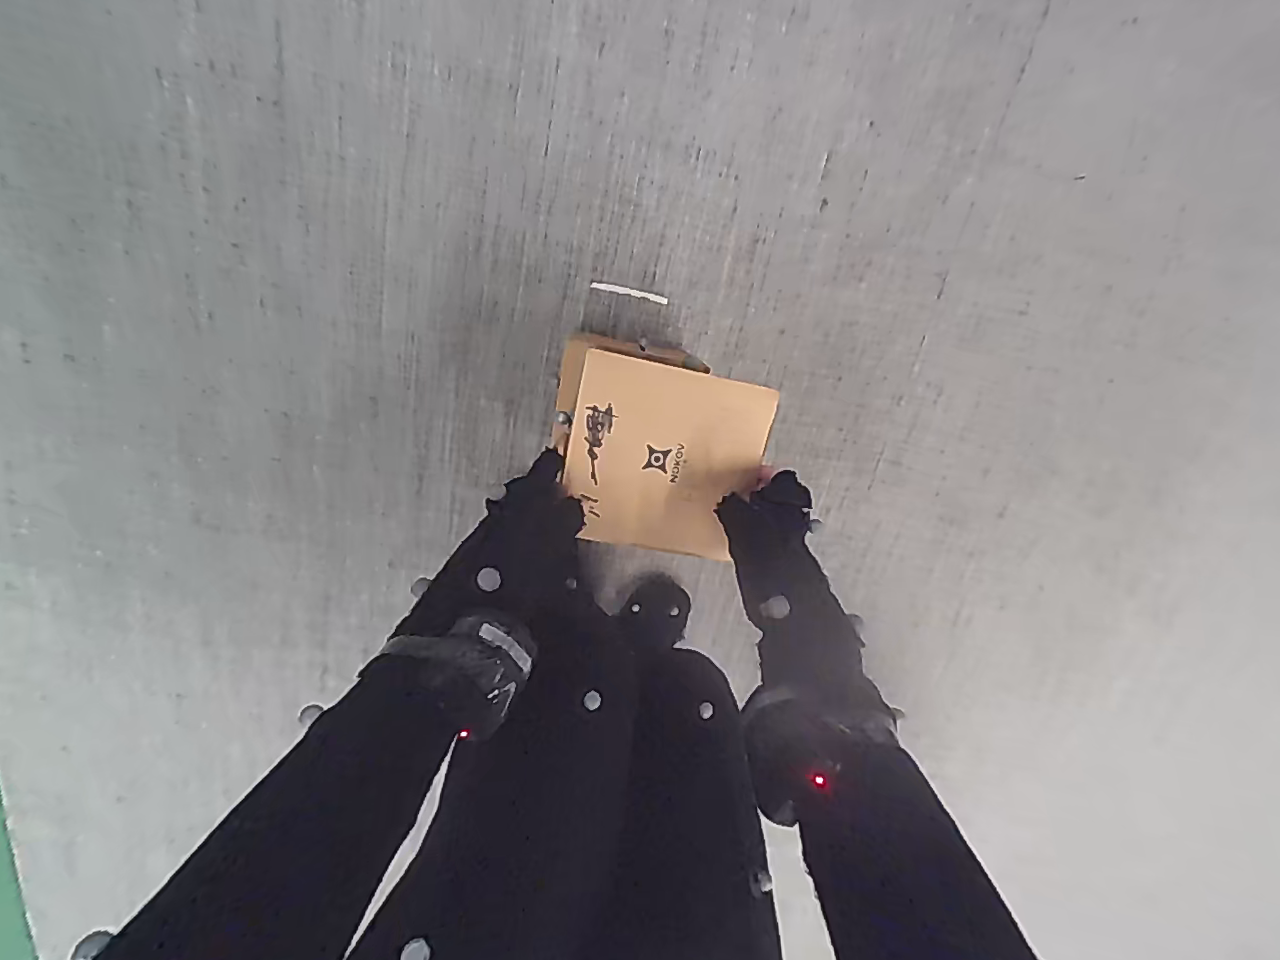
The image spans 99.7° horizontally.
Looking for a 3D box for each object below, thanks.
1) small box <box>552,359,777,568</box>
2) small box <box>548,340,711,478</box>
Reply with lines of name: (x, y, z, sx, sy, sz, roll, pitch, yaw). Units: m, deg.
small box: (0.010, -0.027, 0.556, 0.179, 0.176, 0.168, 11, 101, -11)
small box: (-0.021, -0.091, 0.732, 0.179, 0.176, 0.168, 9, 107, -7)
